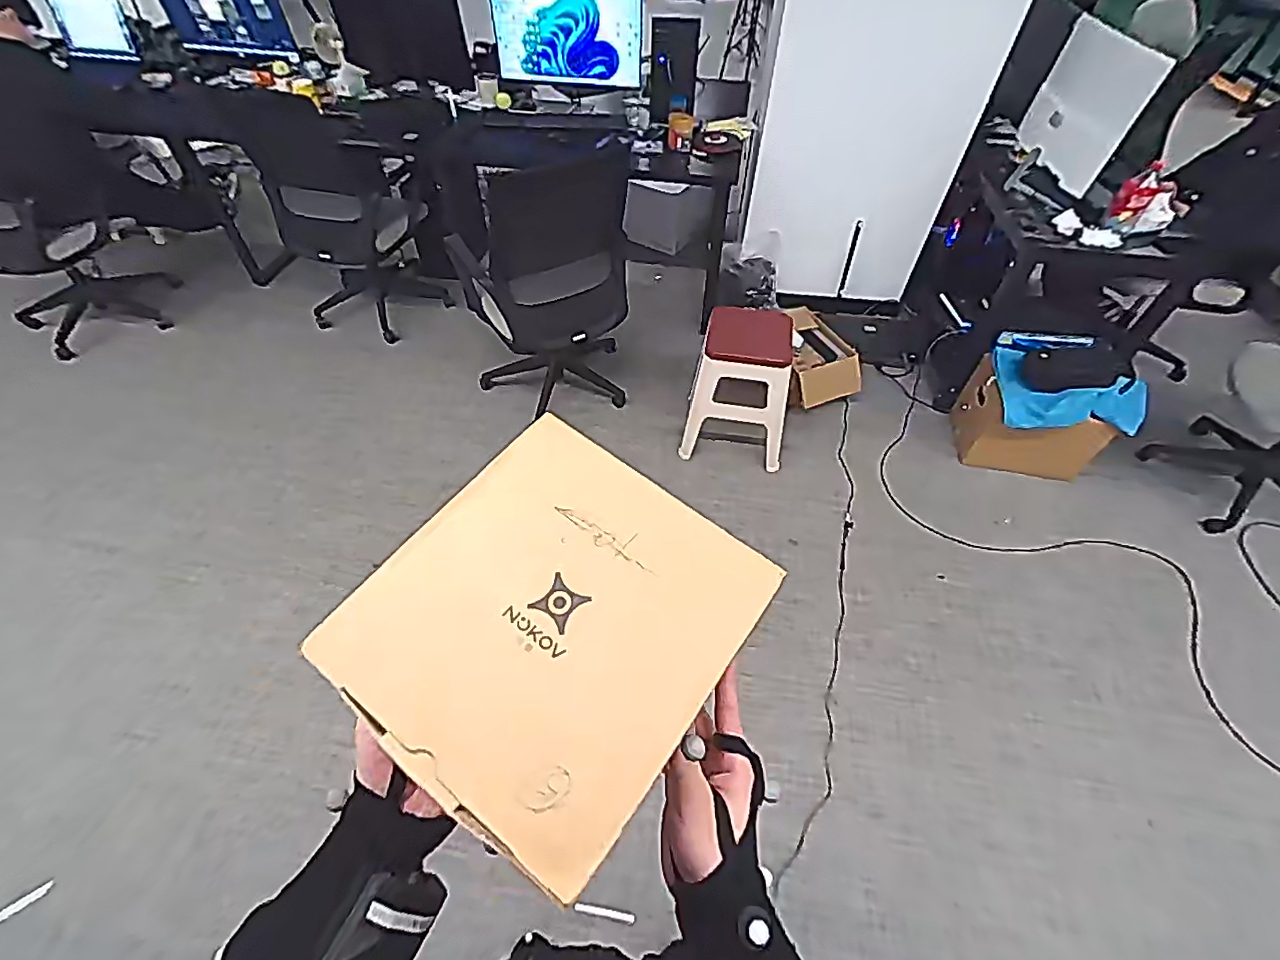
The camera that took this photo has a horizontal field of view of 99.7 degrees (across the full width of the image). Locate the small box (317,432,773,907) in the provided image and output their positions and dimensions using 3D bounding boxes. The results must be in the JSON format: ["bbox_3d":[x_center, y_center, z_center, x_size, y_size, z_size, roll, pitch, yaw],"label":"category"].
[{"bbox_3d":[-0.046,0.111,0.343,0.168,0.176,0.179,34,64,14],"label":"small box"}]
